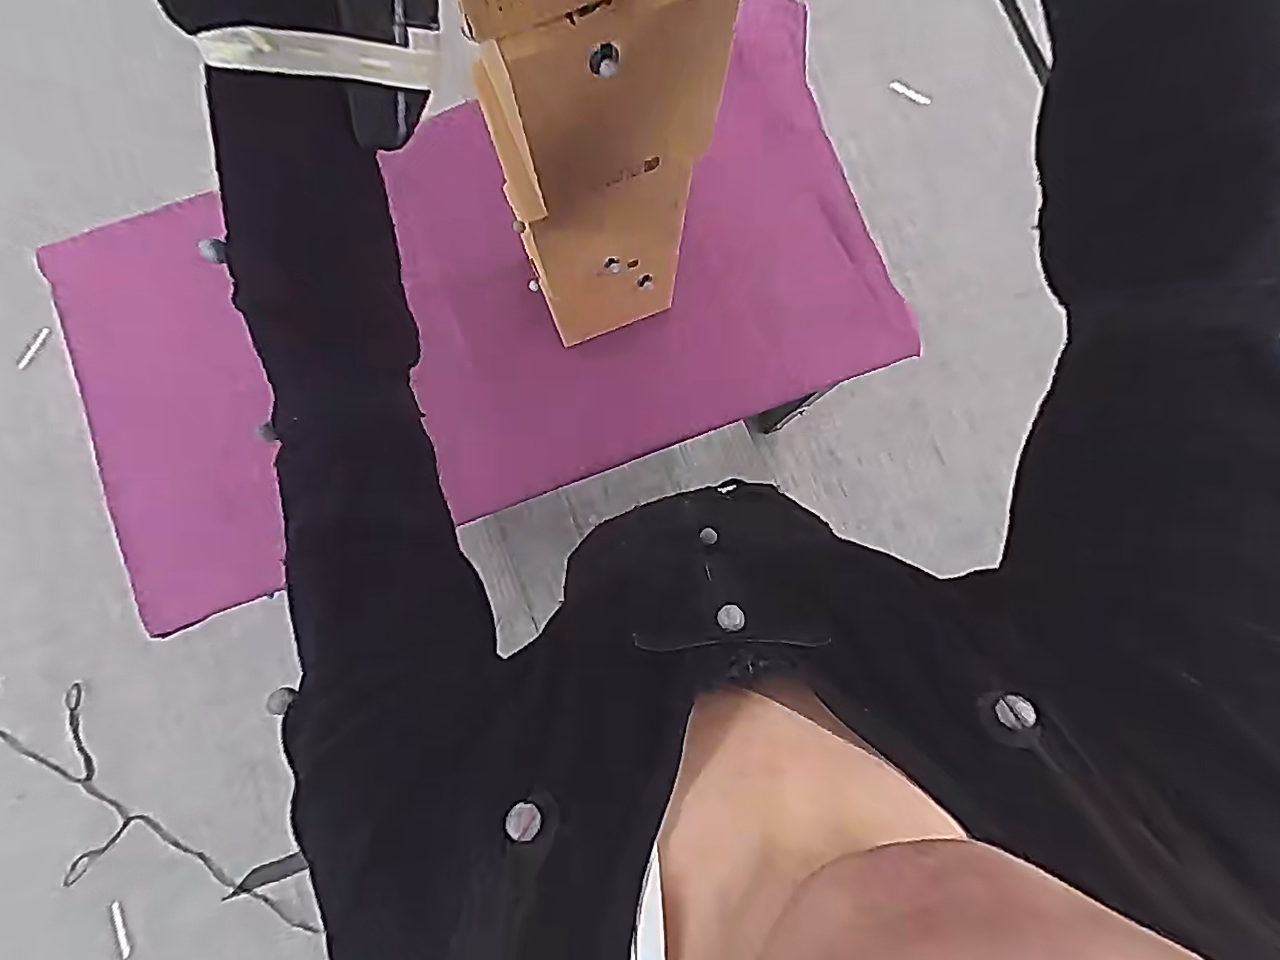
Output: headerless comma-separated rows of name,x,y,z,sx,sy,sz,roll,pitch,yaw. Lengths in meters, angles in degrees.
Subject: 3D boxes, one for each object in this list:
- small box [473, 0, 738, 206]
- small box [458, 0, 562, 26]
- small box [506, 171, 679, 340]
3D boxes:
small box,-0.041,-0.362,0.426,0.168,0.176,0.179,-22,84,-2
small box,-0.051,-0.388,0.265,0.179,0.176,0.168,-23,85,-2
small box,-0.060,-0.320,0.750,0.179,0.176,0.168,-22,84,-2
